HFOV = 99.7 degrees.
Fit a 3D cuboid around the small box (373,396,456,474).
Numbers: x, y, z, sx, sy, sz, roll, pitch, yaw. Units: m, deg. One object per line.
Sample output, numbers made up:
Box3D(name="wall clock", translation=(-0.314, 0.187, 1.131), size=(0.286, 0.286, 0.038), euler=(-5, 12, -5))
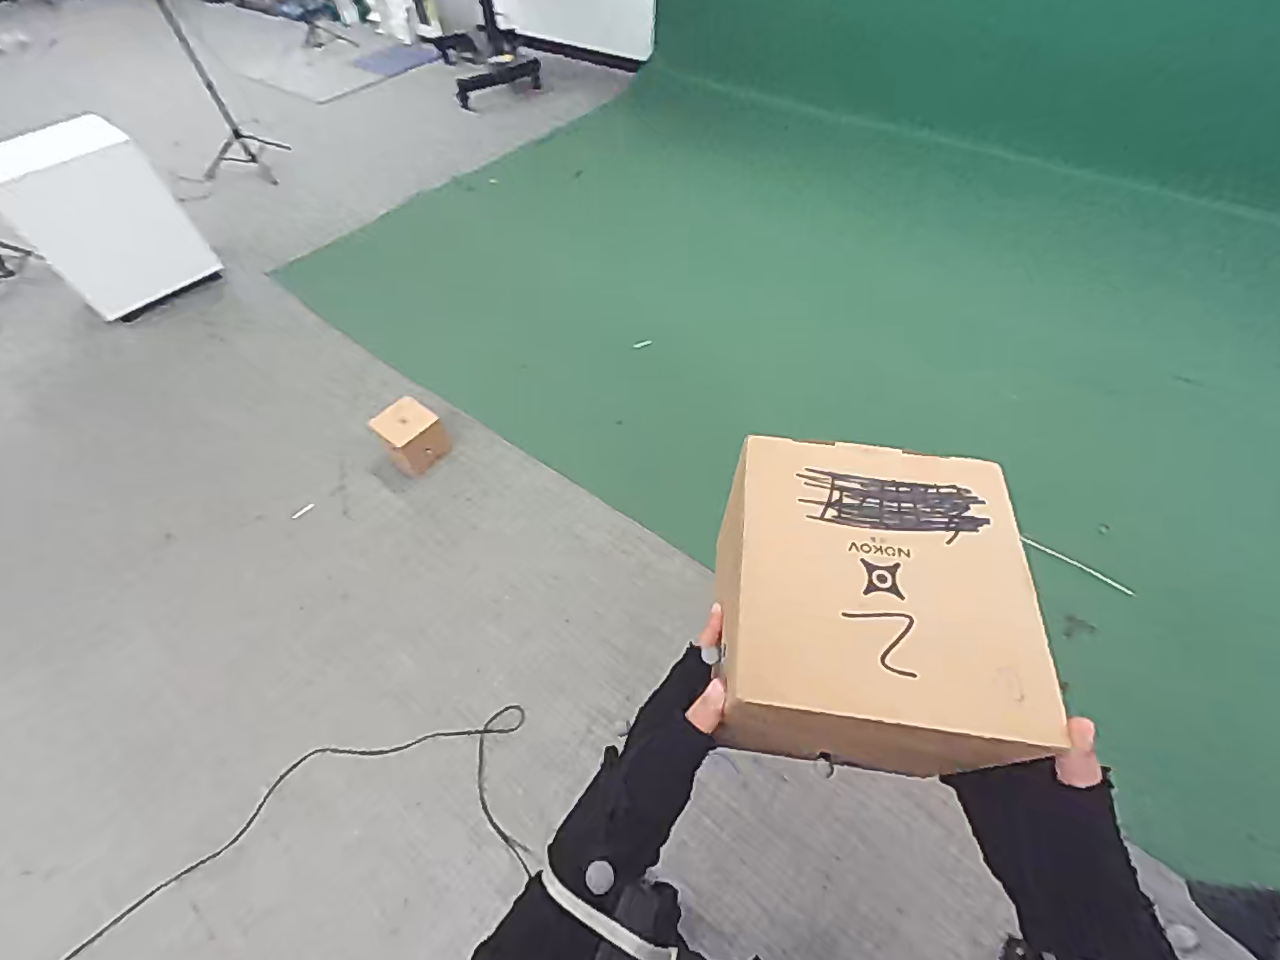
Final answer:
Box3D(name="small box", translation=(-0.759, -0.147, 1.839), size=(0.179, 0.176, 0.168), euler=(32, 60, 22))
